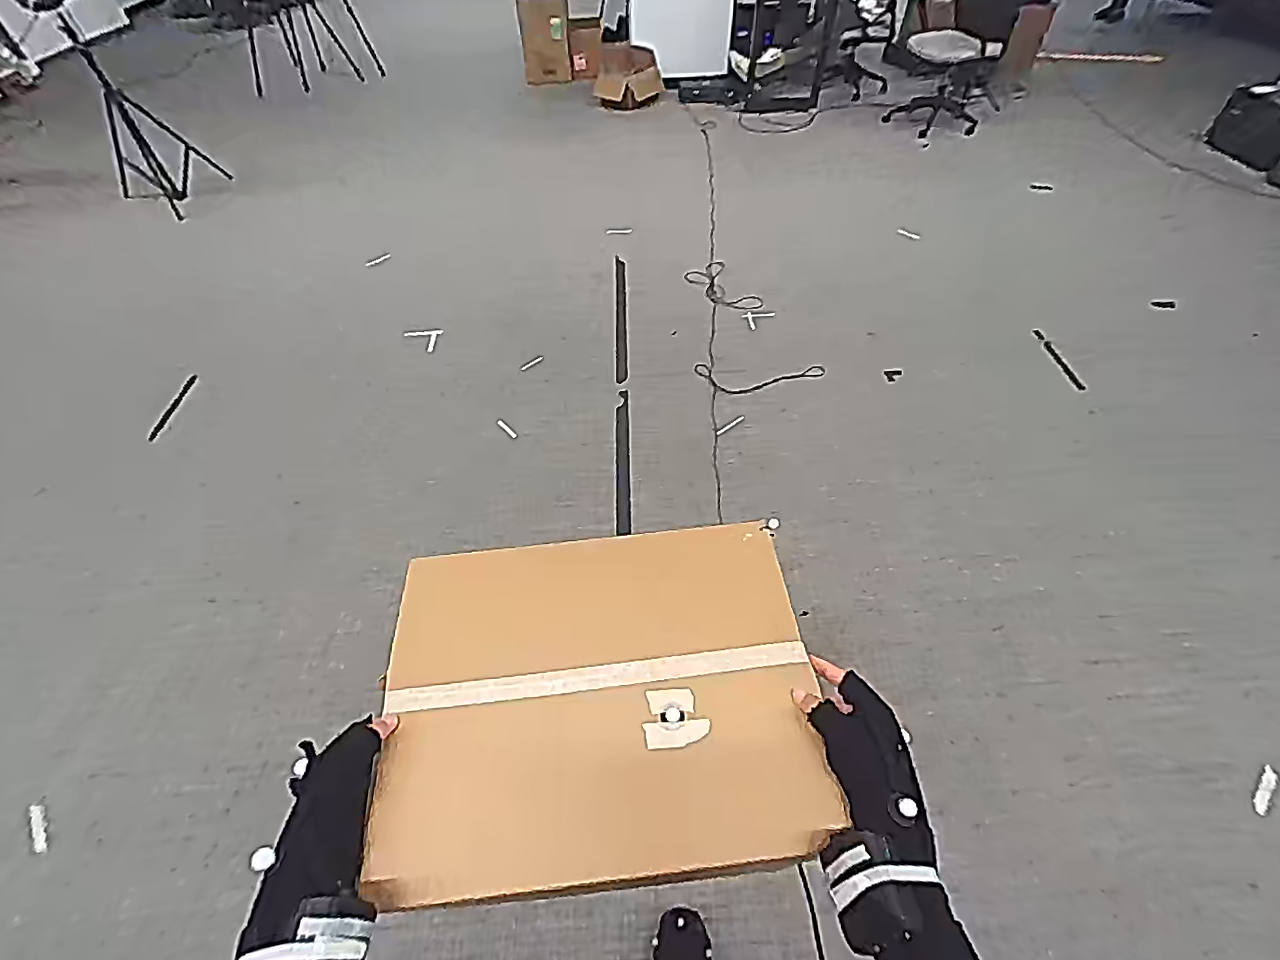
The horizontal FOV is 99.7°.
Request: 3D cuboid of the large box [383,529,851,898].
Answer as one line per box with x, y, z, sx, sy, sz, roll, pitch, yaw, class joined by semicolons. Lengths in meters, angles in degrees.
-0.029;0.288;0.657;0.408;0.320;0.320;-5;53;-2;large box
